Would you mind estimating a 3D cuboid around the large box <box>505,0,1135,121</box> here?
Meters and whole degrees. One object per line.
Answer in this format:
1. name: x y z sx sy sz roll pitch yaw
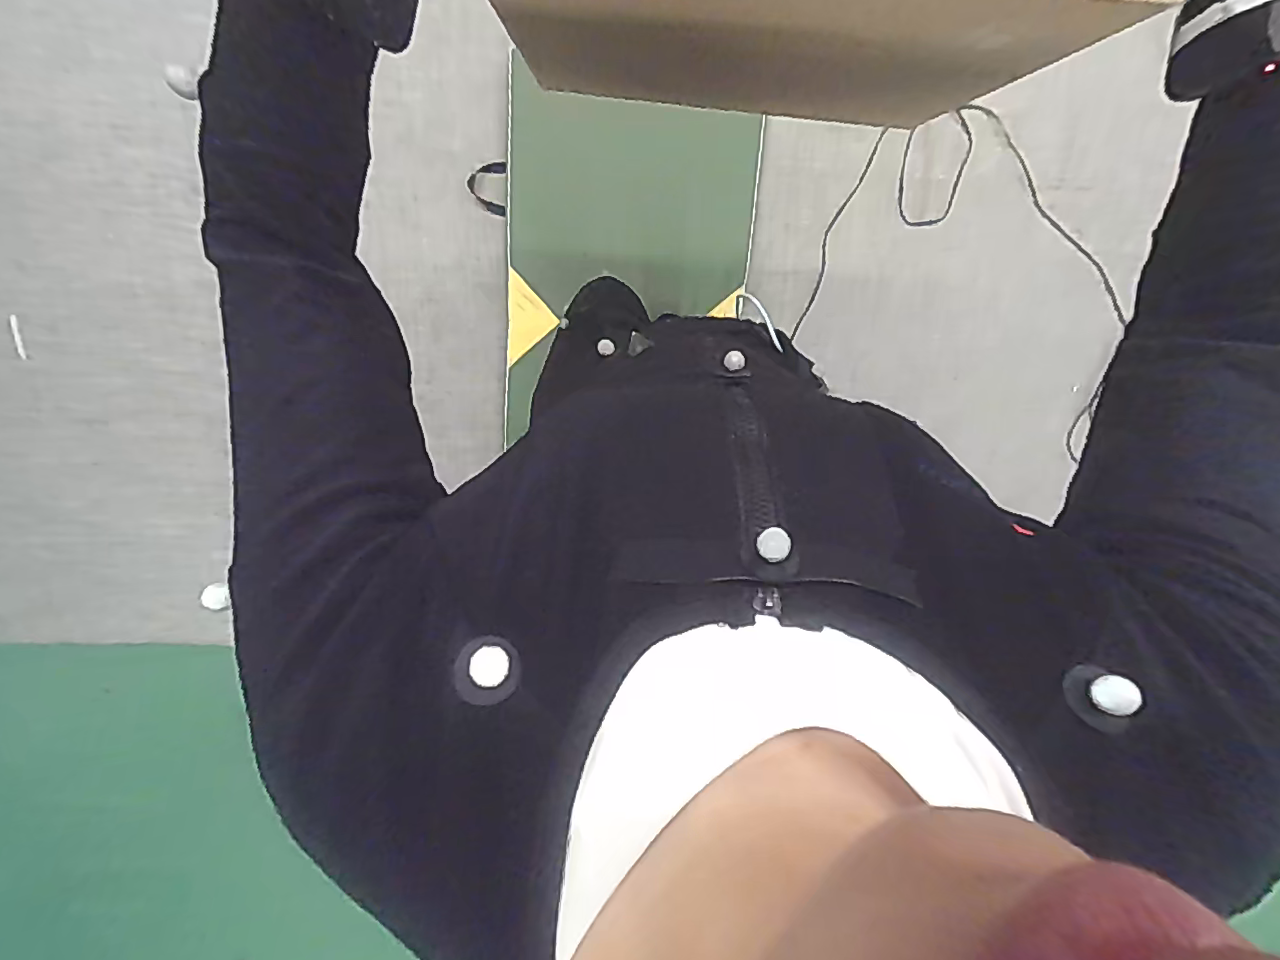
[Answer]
1. large box: 0.108 -0.481 0.382 0.408 0.320 0.320 3 112 -3
